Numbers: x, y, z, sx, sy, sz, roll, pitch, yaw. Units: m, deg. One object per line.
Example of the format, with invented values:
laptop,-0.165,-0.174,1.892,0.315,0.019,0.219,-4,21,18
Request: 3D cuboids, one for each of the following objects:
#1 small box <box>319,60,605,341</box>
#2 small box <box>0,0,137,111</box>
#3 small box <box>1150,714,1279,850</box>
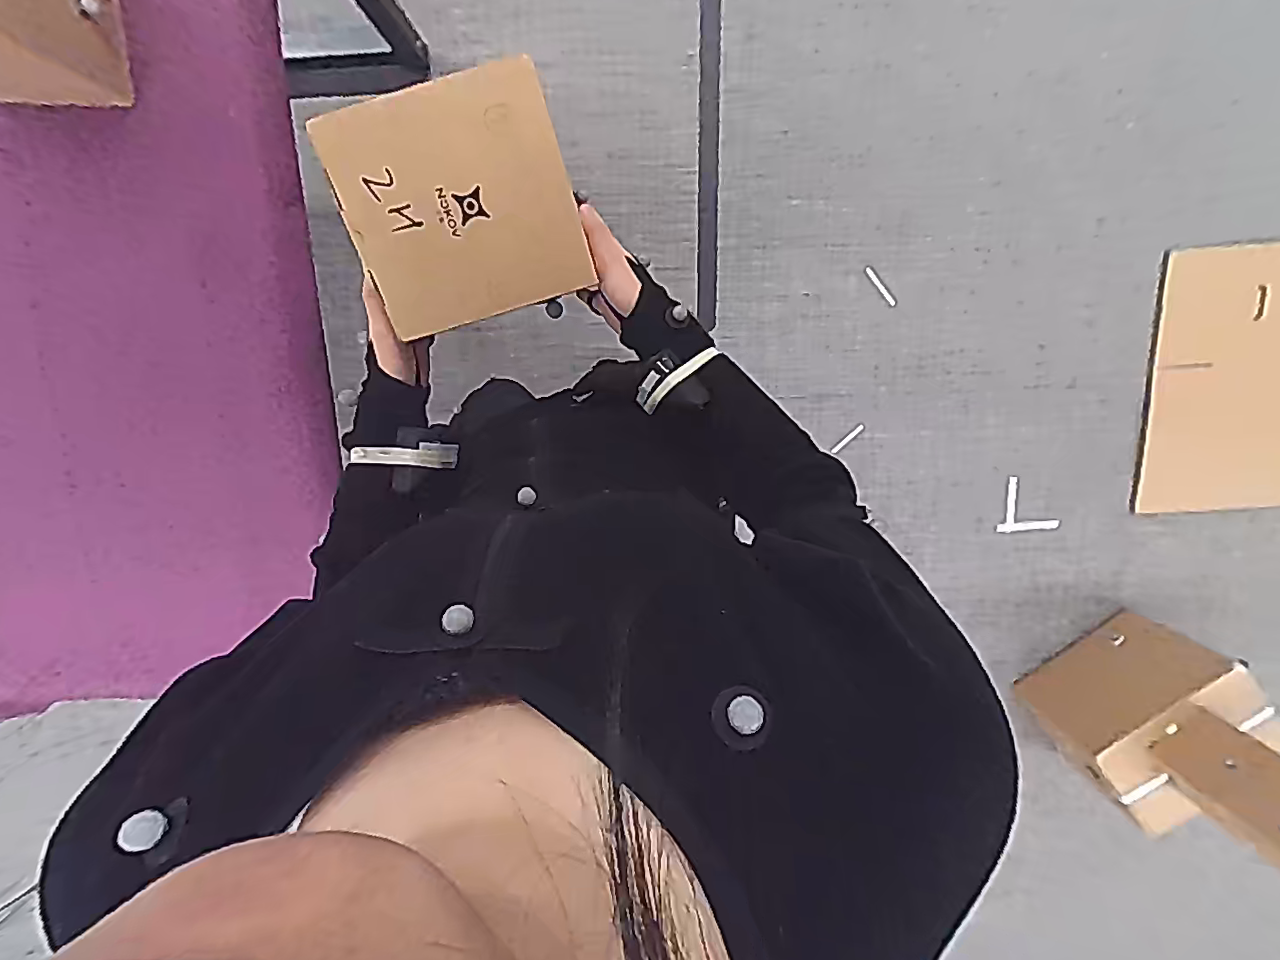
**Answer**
small box,-0.139,-0.237,0.493,0.179,0.176,0.168,-16,110,0
small box,-0.678,-0.501,0.546,0.179,0.176,0.168,1,102,-1
small box,1.351,0.682,1.240,0.179,0.176,0.168,-42,98,9
